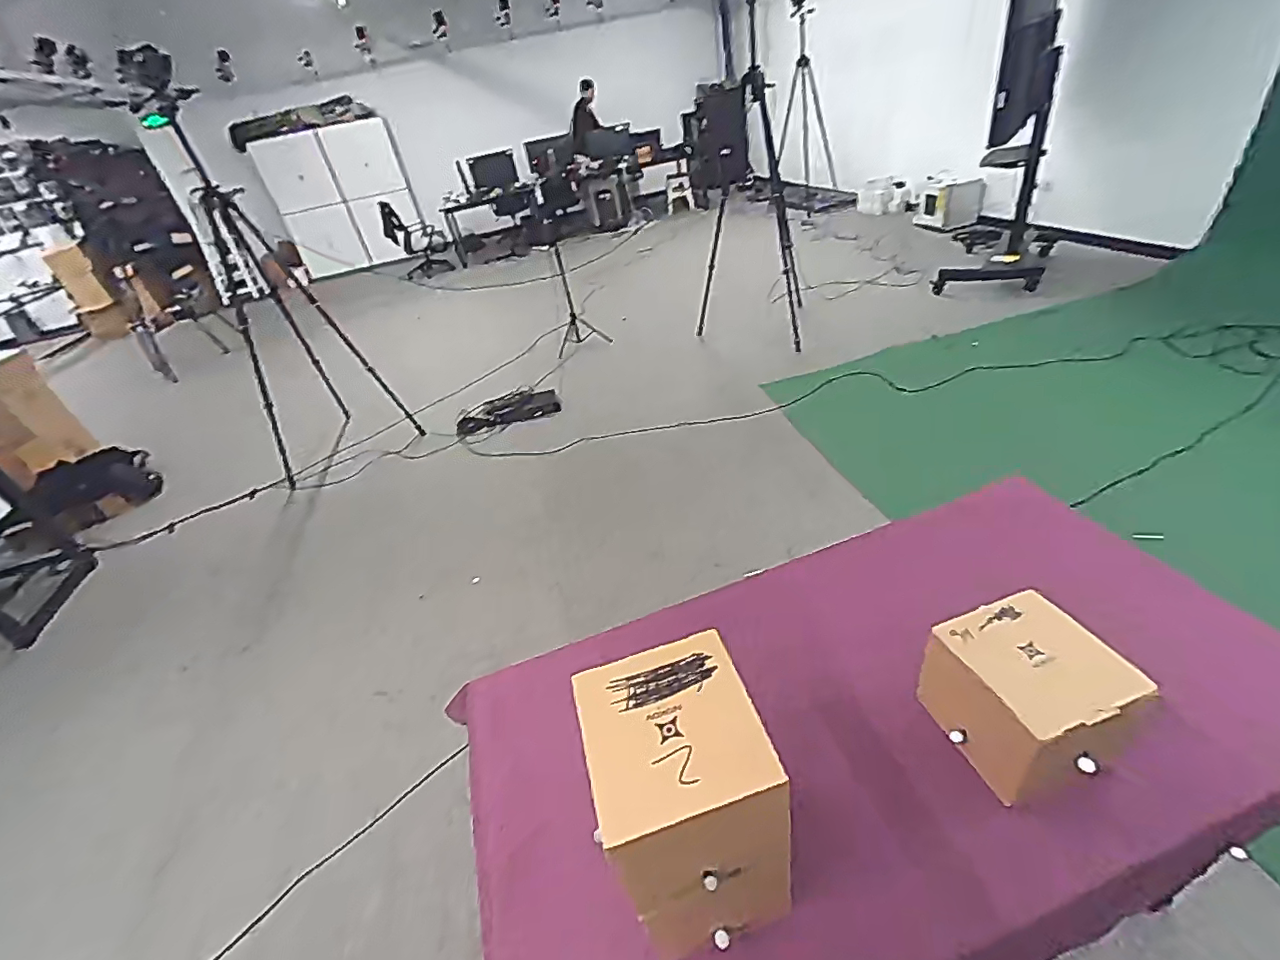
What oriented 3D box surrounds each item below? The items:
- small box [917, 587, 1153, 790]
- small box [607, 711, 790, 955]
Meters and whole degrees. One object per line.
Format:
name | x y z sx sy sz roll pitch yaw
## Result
small box | 0.507 0.283 0.726 0.168 0.176 0.179 -18 37 -8
small box | 0.068 0.426 0.661 0.168 0.176 0.179 -17 37 -7
